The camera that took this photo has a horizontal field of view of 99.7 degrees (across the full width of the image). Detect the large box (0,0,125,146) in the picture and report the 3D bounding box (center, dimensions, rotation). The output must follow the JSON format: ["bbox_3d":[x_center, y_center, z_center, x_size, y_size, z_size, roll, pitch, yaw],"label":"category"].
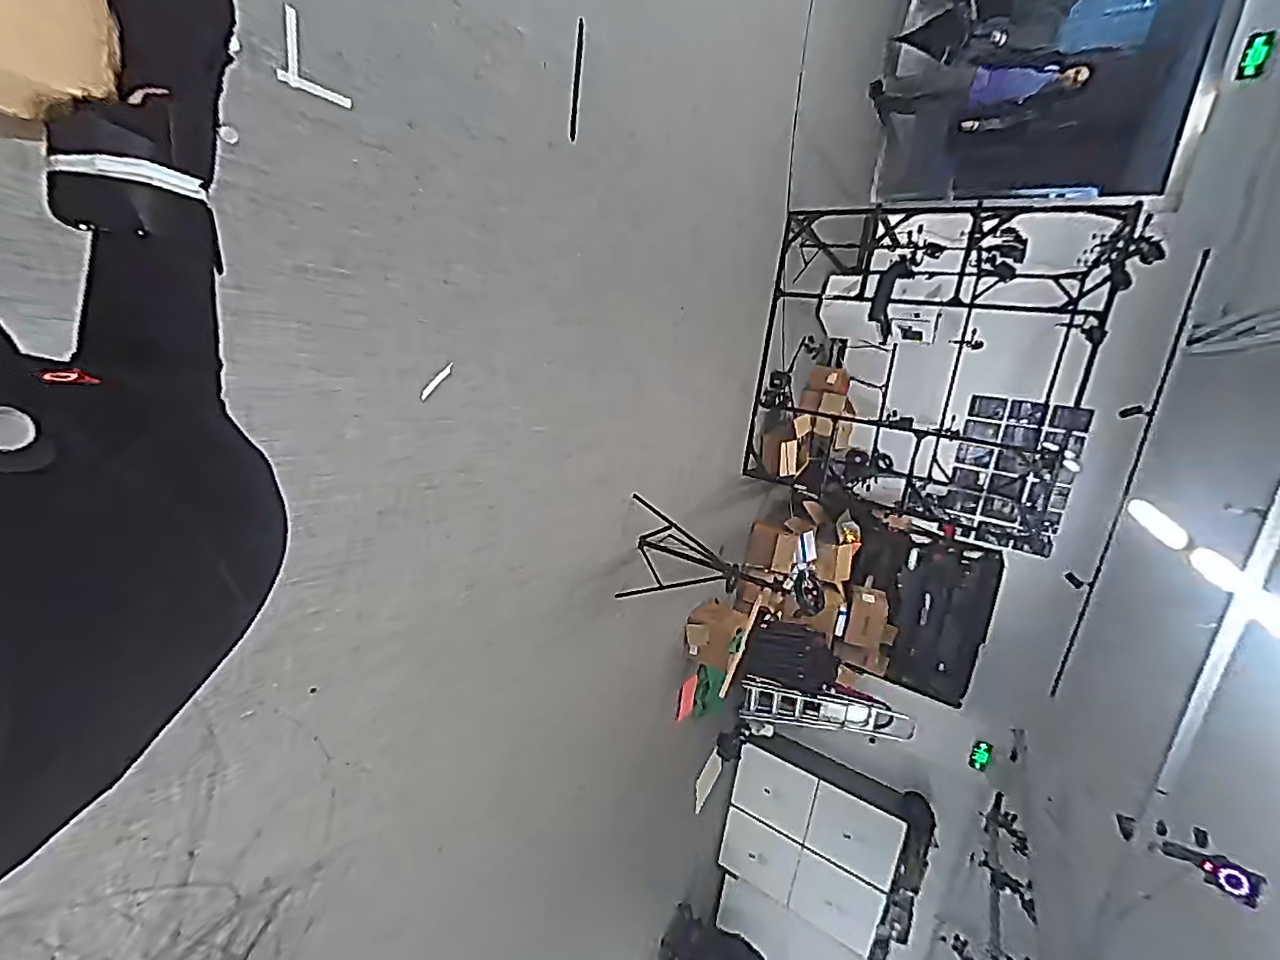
[{"bbox_3d":[-0.561,-0.402,0.243,0.408,0.320,0.320,-12,120,-60],"label":"large box"}]
